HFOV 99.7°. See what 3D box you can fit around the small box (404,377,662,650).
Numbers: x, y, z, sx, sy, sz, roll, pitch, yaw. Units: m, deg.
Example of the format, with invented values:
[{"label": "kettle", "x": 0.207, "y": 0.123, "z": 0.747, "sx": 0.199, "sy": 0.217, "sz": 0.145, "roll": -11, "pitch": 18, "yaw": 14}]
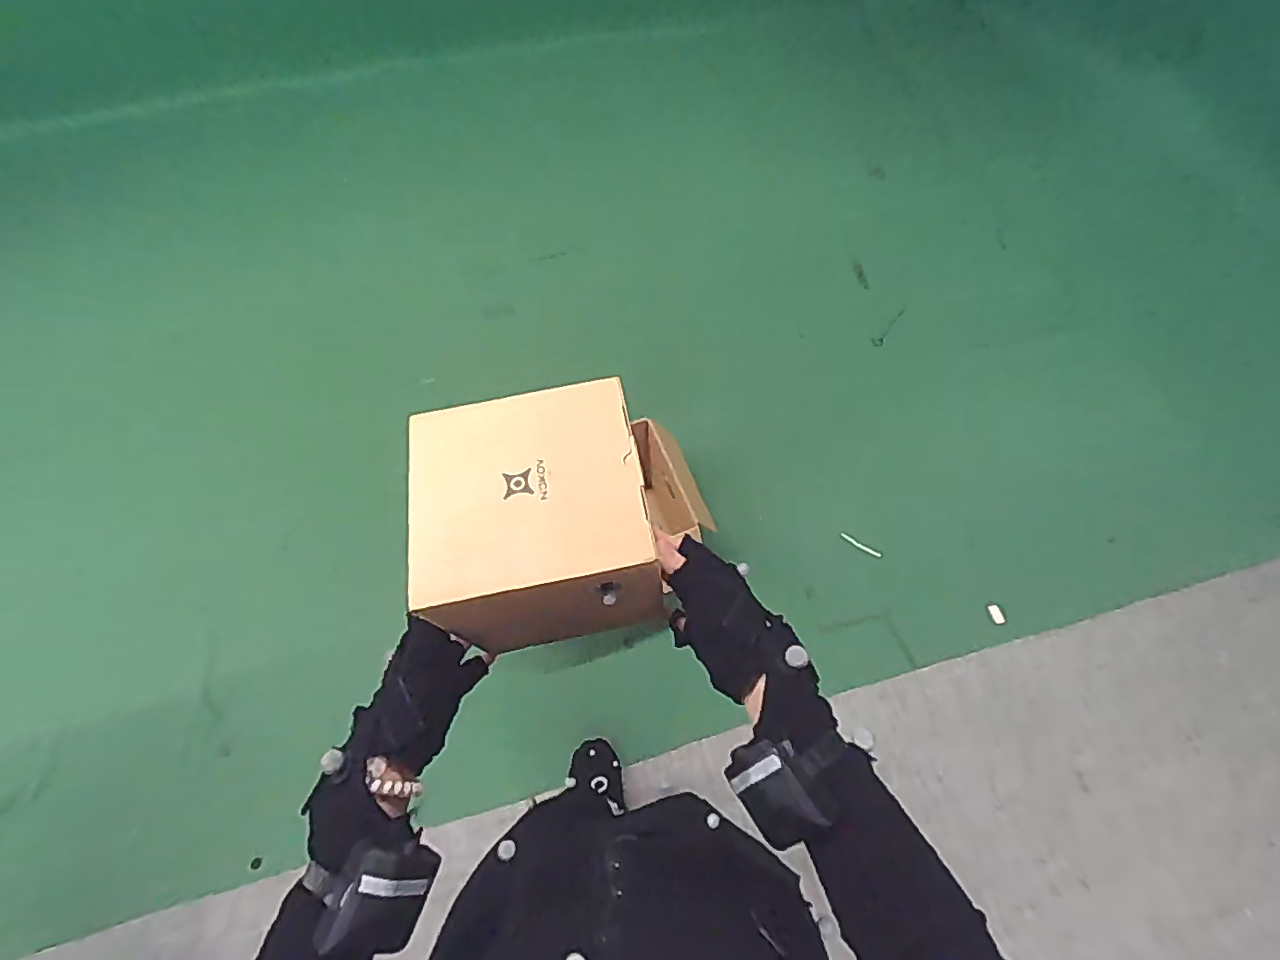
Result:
[{"label": "small box", "x": -0.083, "y": 0.039, "z": 0.475, "sx": 0.179, "sy": 0.176, "sz": 0.168, "roll": -12, "pitch": 62, "yaw": -2}]
